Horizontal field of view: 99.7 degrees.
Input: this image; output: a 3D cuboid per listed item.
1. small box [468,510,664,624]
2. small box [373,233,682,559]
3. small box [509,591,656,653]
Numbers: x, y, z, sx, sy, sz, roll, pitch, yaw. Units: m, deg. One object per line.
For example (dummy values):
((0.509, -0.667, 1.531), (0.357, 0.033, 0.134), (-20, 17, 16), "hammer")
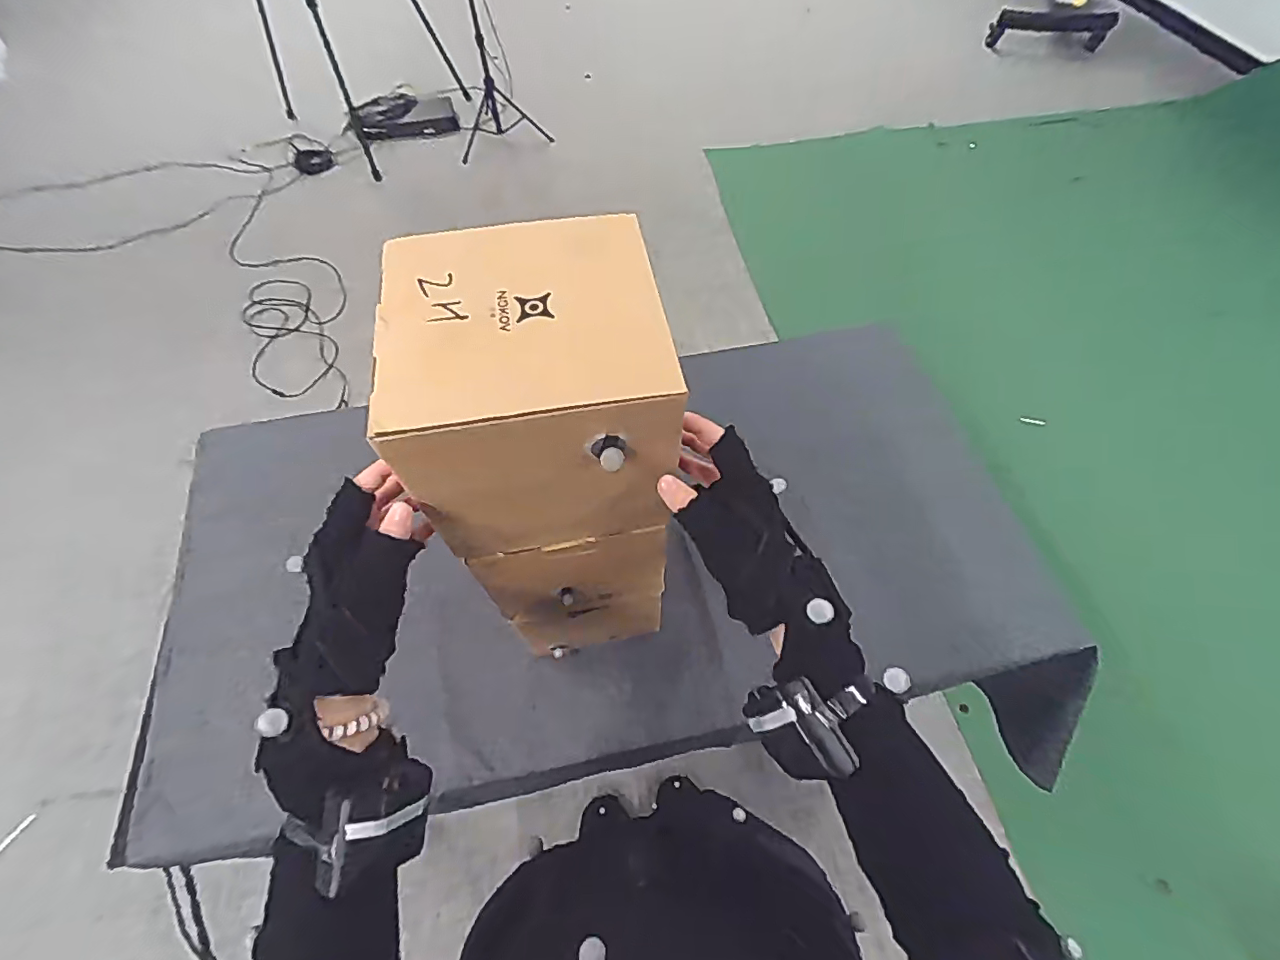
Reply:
((-0.076, 0.027, 0.553), (0.168, 0.176, 0.179), (-10, 60, -6), "small box")
((-0.075, -0.055, 0.411), (0.179, 0.176, 0.168), (-9, 59, -5), "small box")
((-0.074, 0.111, 0.693), (0.168, 0.176, 0.179), (-11, 59, -6), "small box")
